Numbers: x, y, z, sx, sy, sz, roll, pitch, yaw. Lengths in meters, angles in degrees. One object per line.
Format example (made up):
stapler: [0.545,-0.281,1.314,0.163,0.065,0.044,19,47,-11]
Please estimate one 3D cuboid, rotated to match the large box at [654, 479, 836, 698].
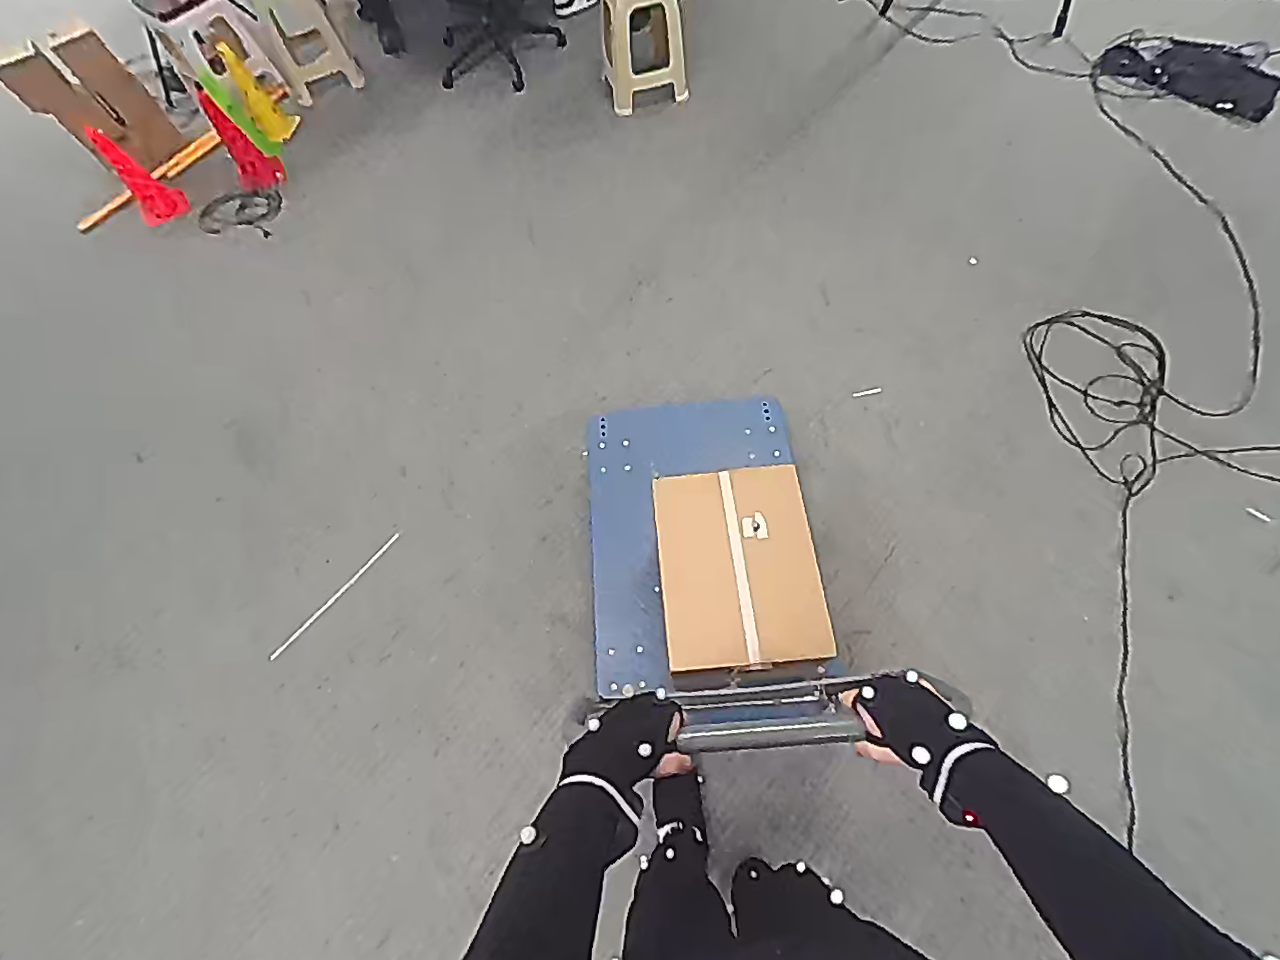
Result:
large box: [0.213,0.257,1.237,0.320,0.320,0.408,-6,63,1]
